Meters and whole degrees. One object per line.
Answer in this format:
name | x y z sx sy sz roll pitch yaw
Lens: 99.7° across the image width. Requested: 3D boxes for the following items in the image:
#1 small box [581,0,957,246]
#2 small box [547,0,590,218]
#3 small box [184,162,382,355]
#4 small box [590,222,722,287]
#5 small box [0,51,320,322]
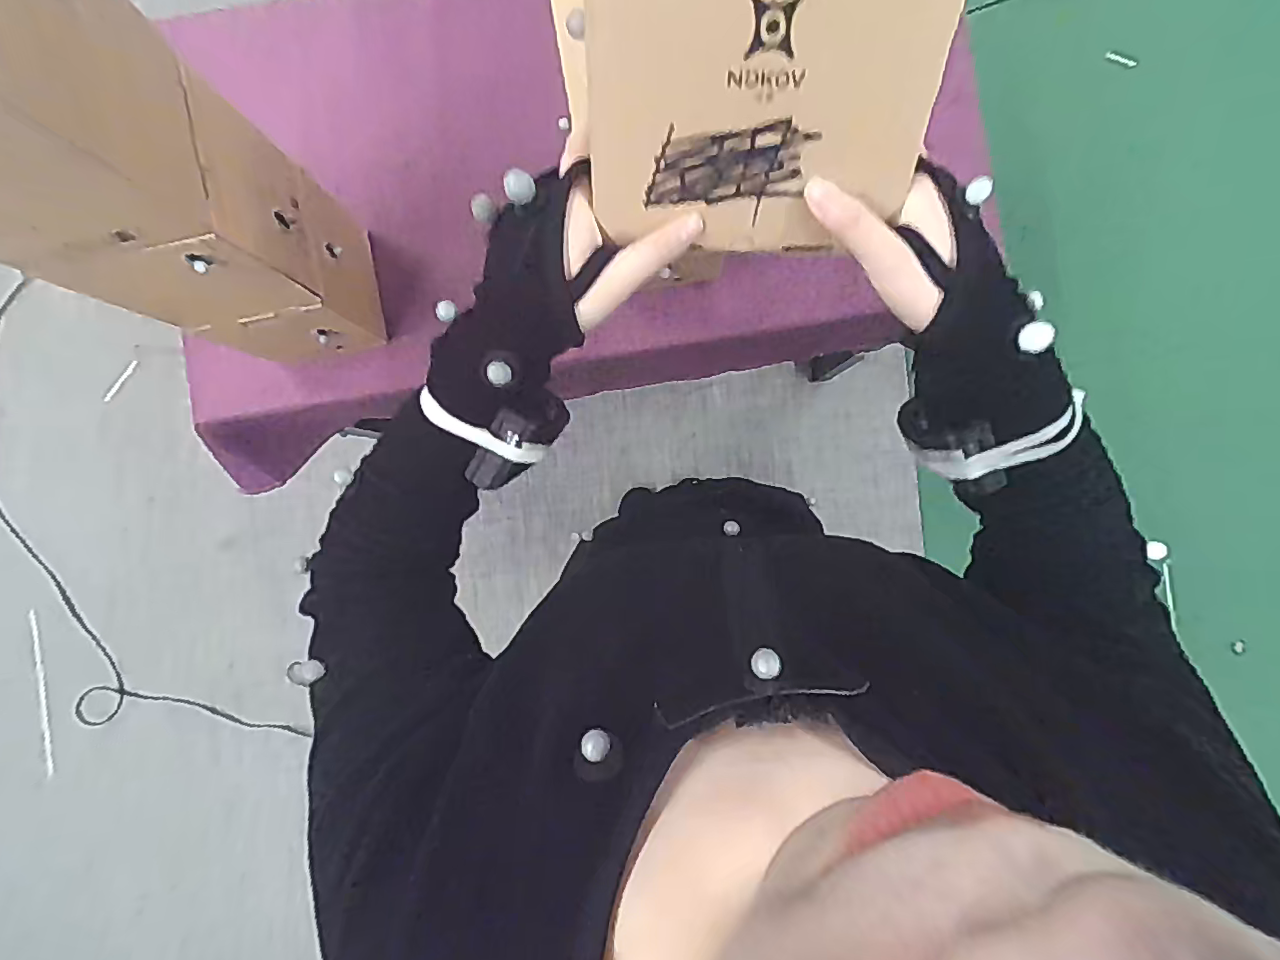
small box | 0.056 -0.250 0.306 0.168 0.176 0.179 0 130 -1
small box | 0.017 -0.369 0.543 0.179 0.176 0.168 -9 89 0
small box | -0.465 -0.272 0.710 0.168 0.176 0.179 -10 88 -1
small box | 0.016 -0.368 0.708 0.168 0.176 0.179 -9 90 0
small box | -0.469 -0.275 0.548 0.179 0.176 0.168 -13 89 -2
